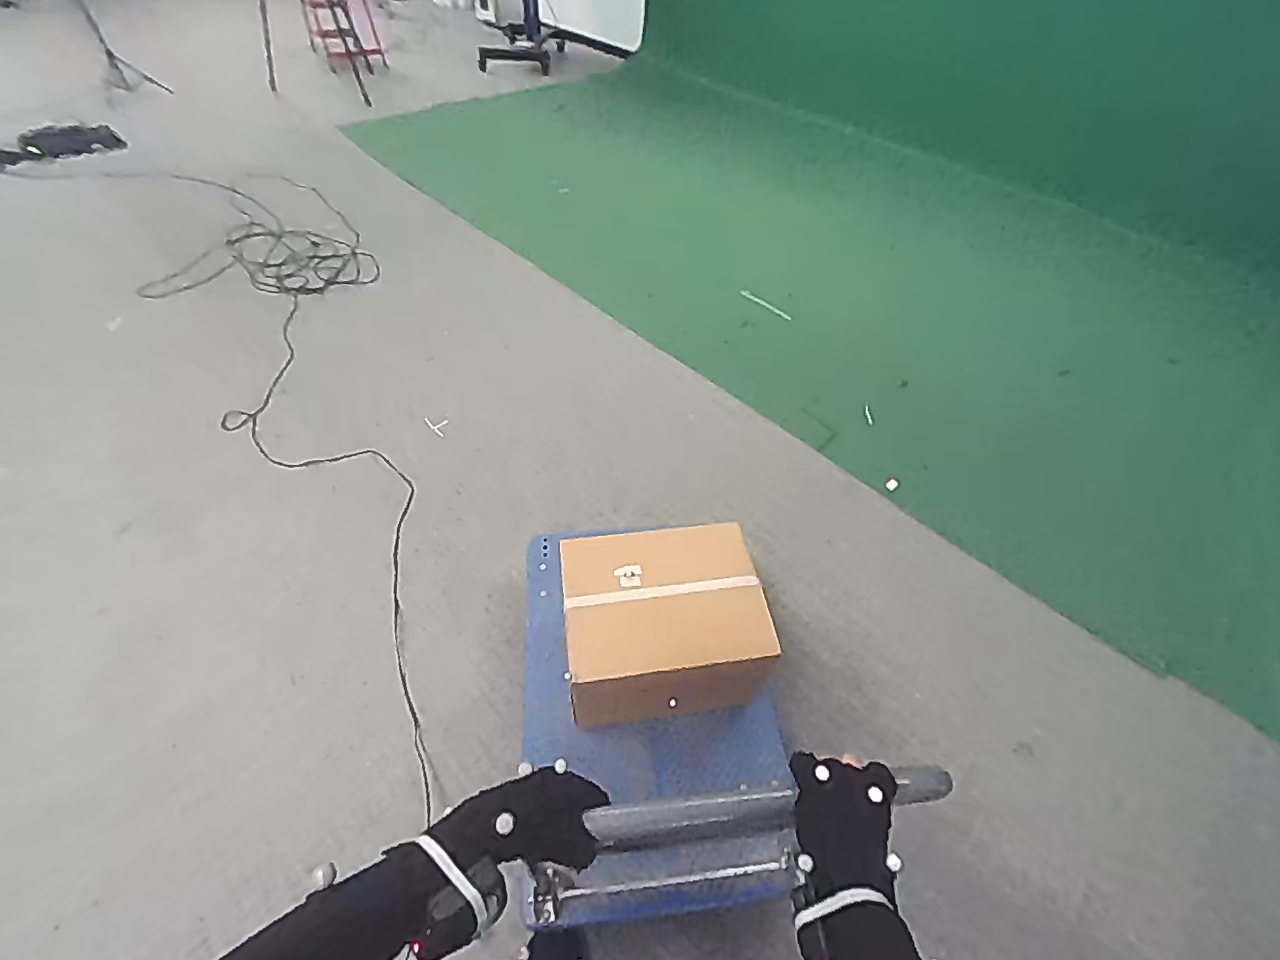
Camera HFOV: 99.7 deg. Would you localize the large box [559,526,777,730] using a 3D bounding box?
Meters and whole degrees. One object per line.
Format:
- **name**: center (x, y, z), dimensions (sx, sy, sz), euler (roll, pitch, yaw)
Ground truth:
- **large box**: center (0.040, 0.335, 1.218), dimensions (0.408, 0.320, 0.320), euler (-6, 50, -8)
